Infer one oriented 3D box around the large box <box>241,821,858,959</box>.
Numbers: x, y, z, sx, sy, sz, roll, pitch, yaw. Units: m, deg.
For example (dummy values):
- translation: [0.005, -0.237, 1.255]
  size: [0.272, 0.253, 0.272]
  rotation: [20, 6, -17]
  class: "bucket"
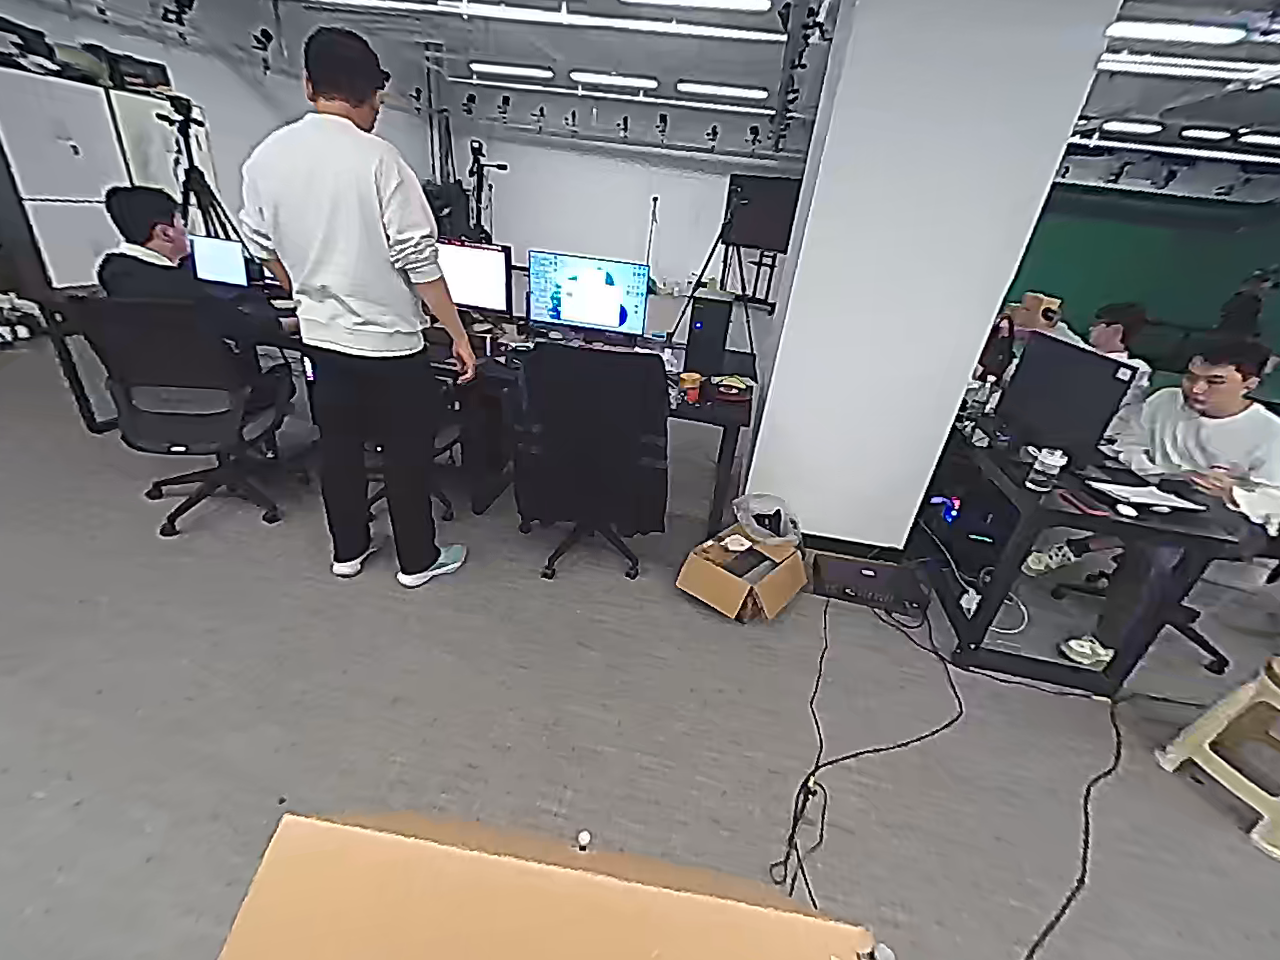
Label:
- translation: [-0.079, 0.477, 0.425]
  size: [0.408, 0.320, 0.320]
  rotation: [9, 60, 2]
  class: "large box"
